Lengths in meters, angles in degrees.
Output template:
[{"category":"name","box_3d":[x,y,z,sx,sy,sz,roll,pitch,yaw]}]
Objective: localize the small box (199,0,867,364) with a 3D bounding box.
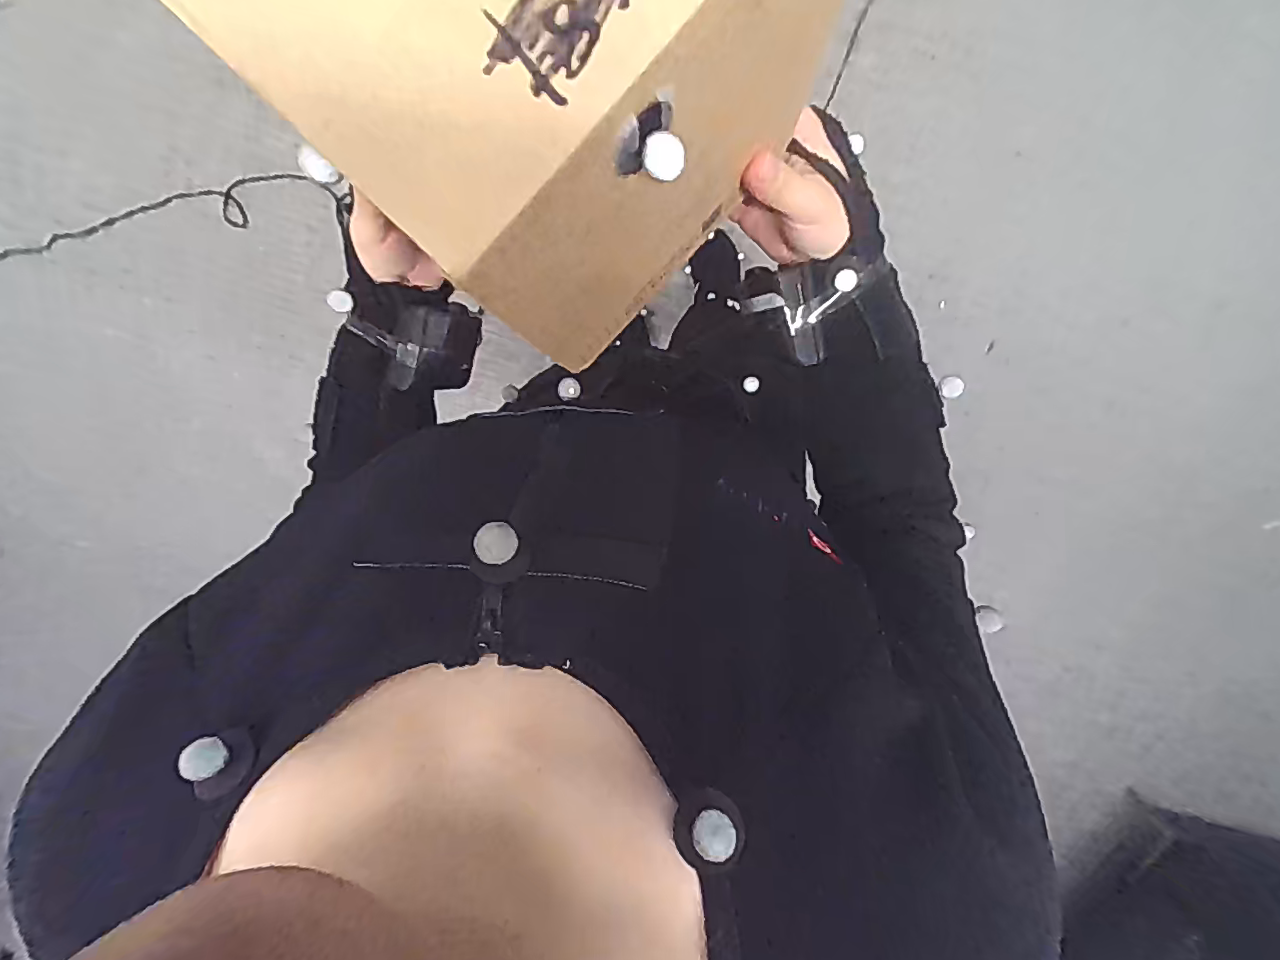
[{"category":"small box","box_3d":[-0.036,-0.169,0.221,0.179,0.176,0.168,44,95,1]}]
